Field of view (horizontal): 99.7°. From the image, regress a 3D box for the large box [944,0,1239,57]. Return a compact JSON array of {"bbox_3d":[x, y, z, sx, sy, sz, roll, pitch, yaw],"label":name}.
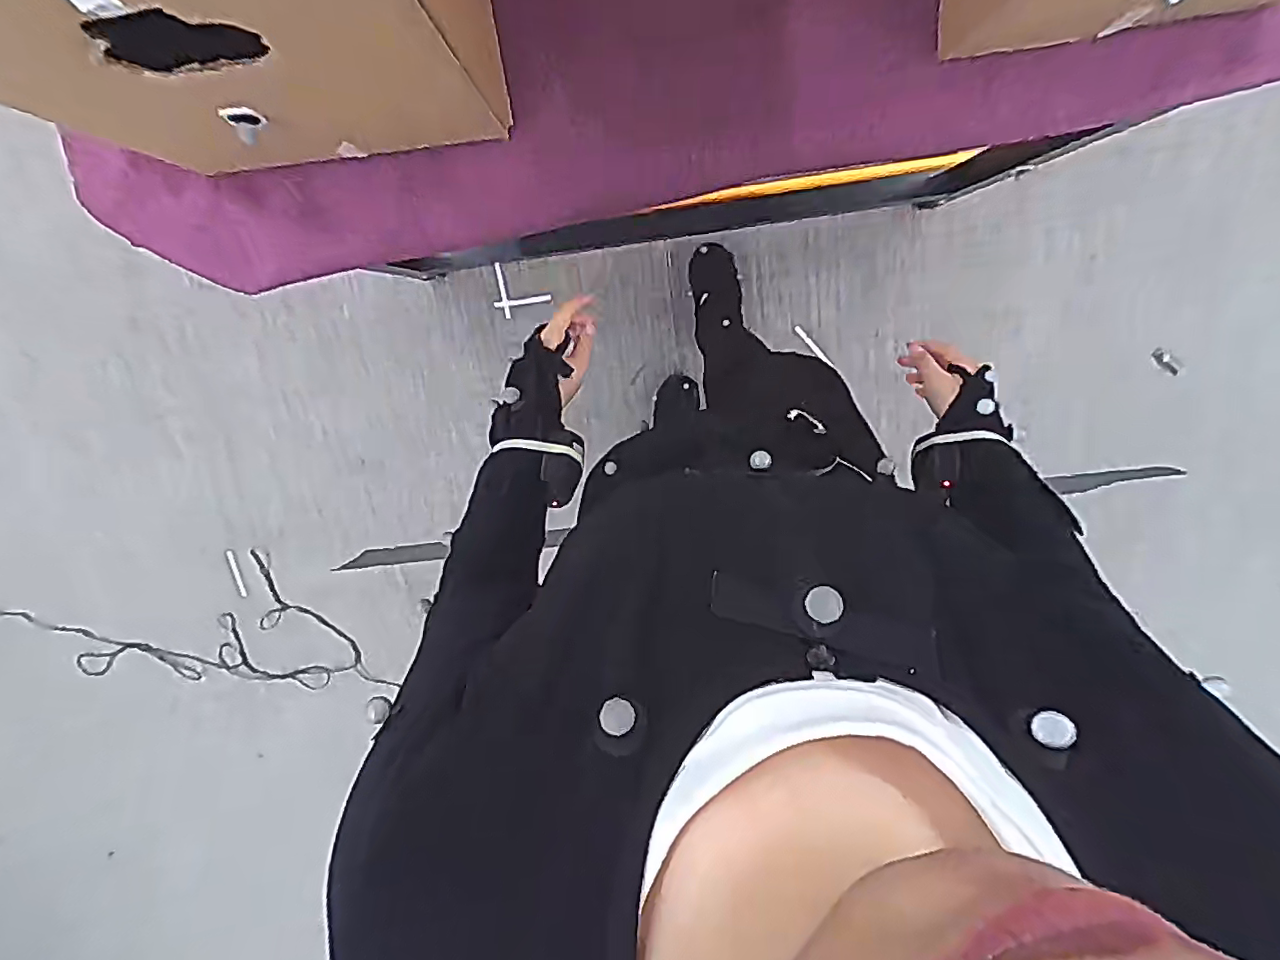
[{"bbox_3d":[0.396,-0.561,0.299,0.320,0.320,0.408,-8,105,2],"label":"large box"}]
